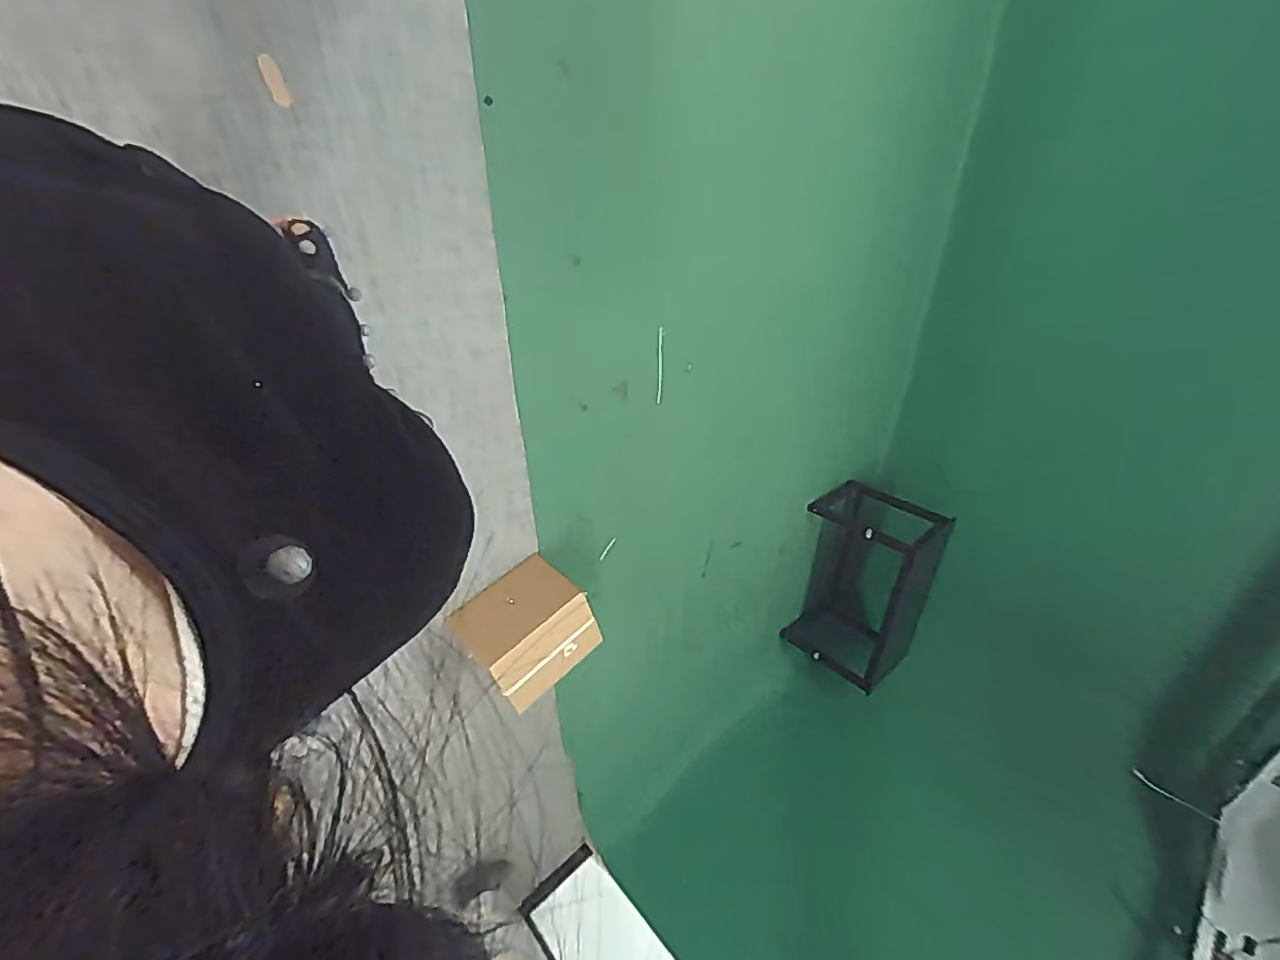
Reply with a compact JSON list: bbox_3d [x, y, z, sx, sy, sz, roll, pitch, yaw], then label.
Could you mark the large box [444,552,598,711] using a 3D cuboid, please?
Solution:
[{"bbox_3d":[-0.433,0.547,2.005,0.408,0.320,0.320,-38,136,-27],"label":"large box"}]
